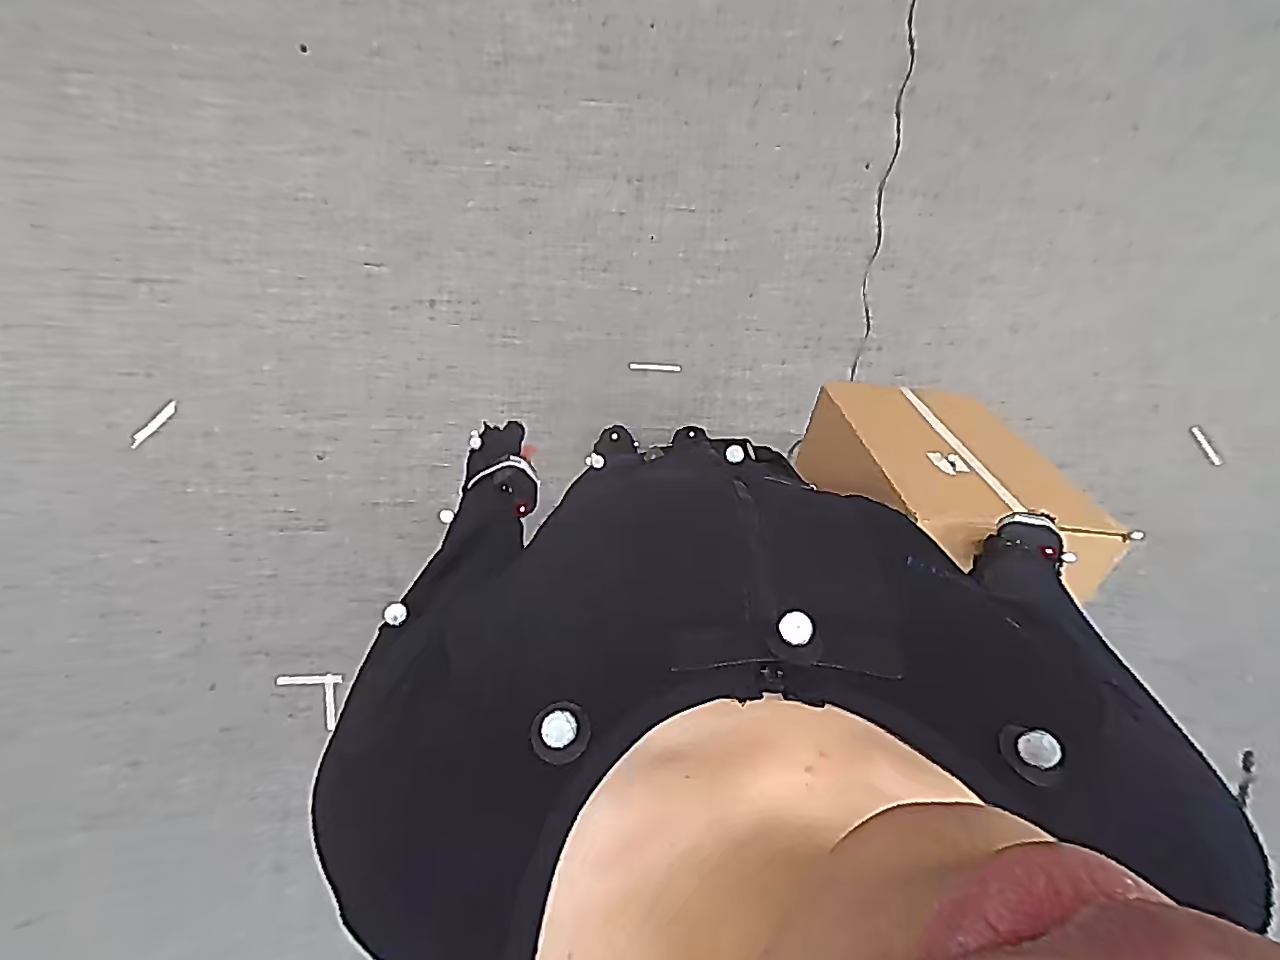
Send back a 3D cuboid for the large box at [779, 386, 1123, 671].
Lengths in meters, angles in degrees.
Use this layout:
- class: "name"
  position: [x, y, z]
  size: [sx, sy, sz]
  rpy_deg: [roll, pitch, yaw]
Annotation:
- class: "large box"
  position: [0.483, 0.074, 0.967]
  size: [0.320, 0.408, 0.320]
  rpy_deg: [5, 126, -6]
